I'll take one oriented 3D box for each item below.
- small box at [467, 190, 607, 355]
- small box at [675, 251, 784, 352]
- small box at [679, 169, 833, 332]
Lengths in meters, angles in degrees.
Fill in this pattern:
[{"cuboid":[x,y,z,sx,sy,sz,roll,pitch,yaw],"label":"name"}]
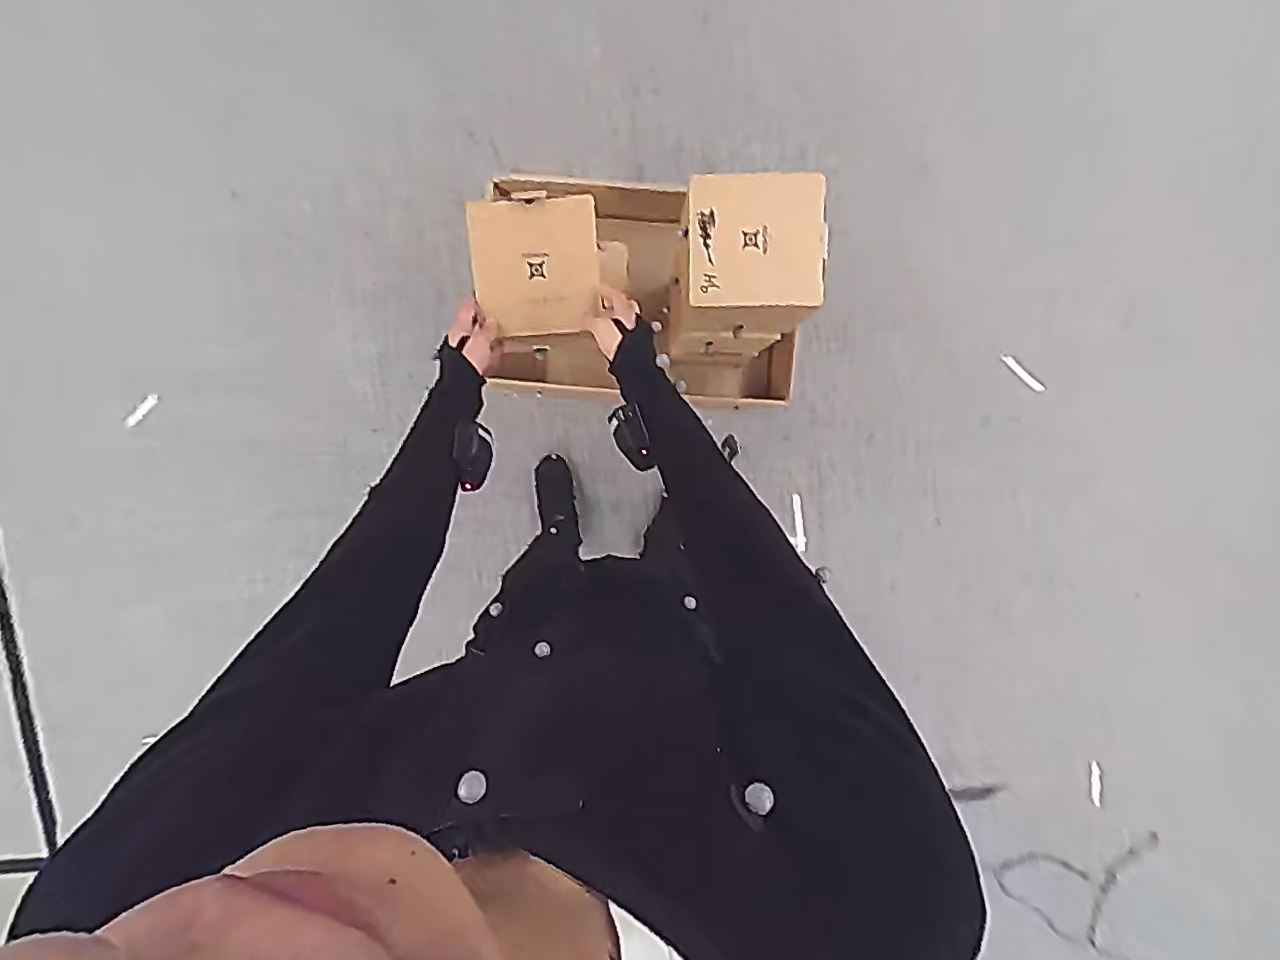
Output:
[{"cuboid":[-0.137,-0.283,0.768,0.168,0.176,0.179,-5,96,-4],"label":"small box"},{"cuboid":[0.149,-0.317,0.918,0.168,0.176,0.179,2,94,0],"label":"small box"},{"cuboid":[0.151,-0.307,0.755,0.179,0.176,0.168,0,94,0],"label":"small box"}]
